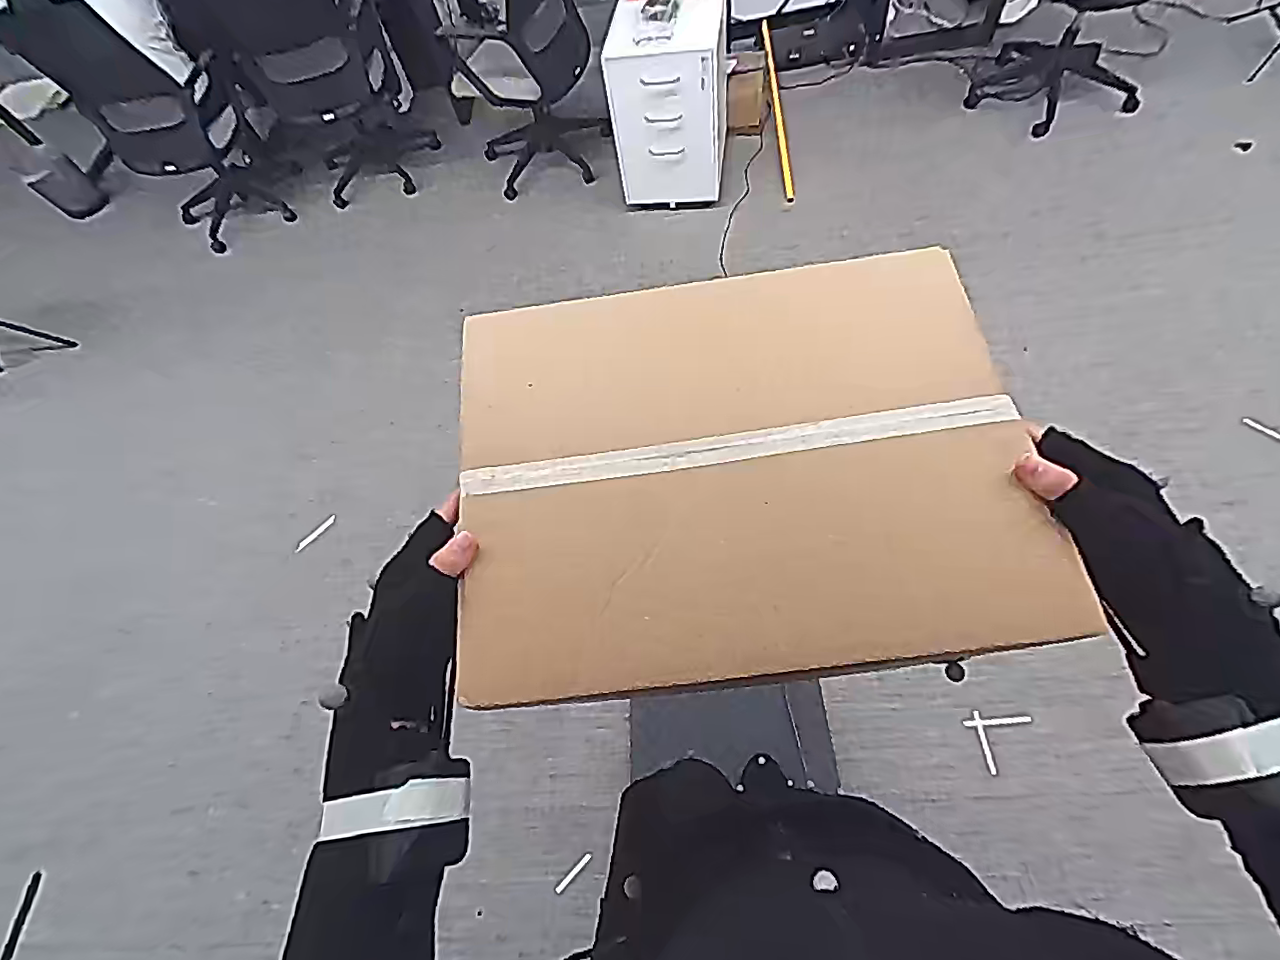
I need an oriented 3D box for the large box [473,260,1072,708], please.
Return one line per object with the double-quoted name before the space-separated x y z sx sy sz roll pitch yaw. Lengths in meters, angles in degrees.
"large box" 0.084 0.036 0.549 0.408 0.320 0.320 -8 67 3
